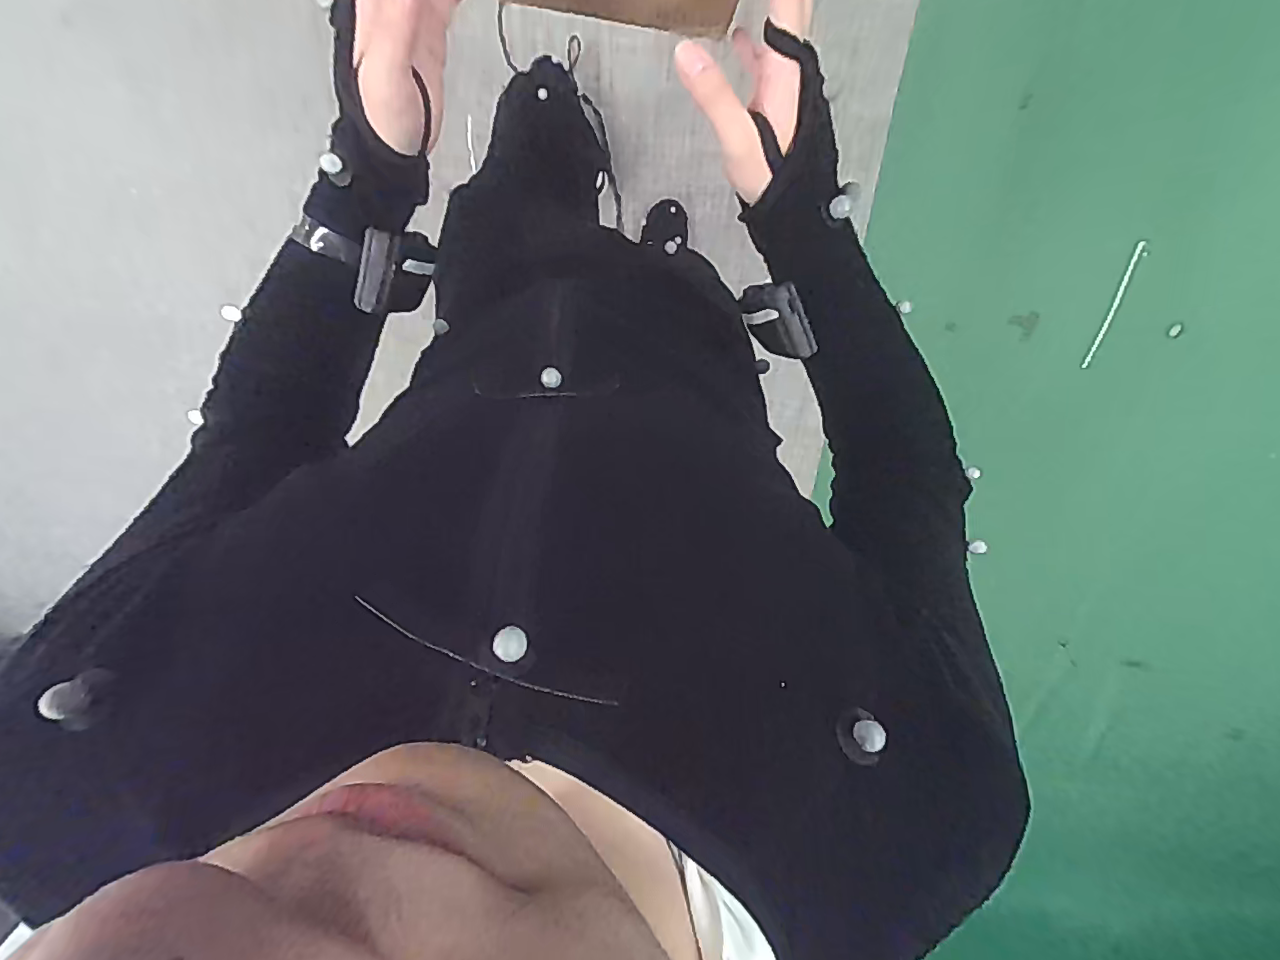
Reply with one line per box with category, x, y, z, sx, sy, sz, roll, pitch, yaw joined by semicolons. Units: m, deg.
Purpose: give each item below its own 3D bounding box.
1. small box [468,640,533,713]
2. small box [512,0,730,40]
small box;-0.479;0.679;1.879;0.168;0.176;0.179;2;119;4
small box;-0.010;-0.391;0.304;0.179;0.176;0.168;8;108;-4
